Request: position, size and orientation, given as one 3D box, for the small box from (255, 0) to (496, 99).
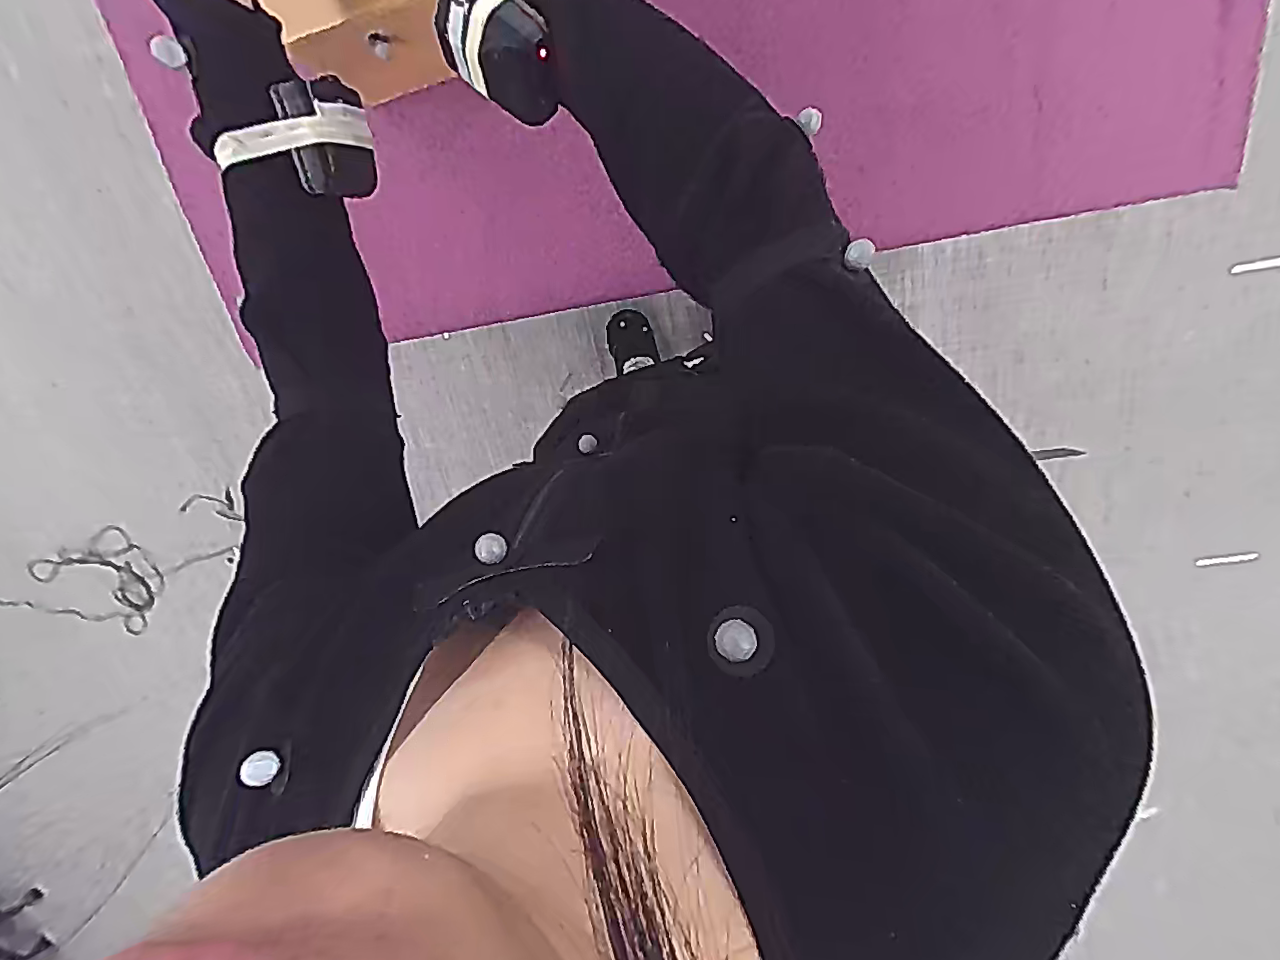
[{"bbox_3d":[-0.253,-0.497,0.510,0.179,0.176,0.168,-12,110,8],"label":"small box"}]
